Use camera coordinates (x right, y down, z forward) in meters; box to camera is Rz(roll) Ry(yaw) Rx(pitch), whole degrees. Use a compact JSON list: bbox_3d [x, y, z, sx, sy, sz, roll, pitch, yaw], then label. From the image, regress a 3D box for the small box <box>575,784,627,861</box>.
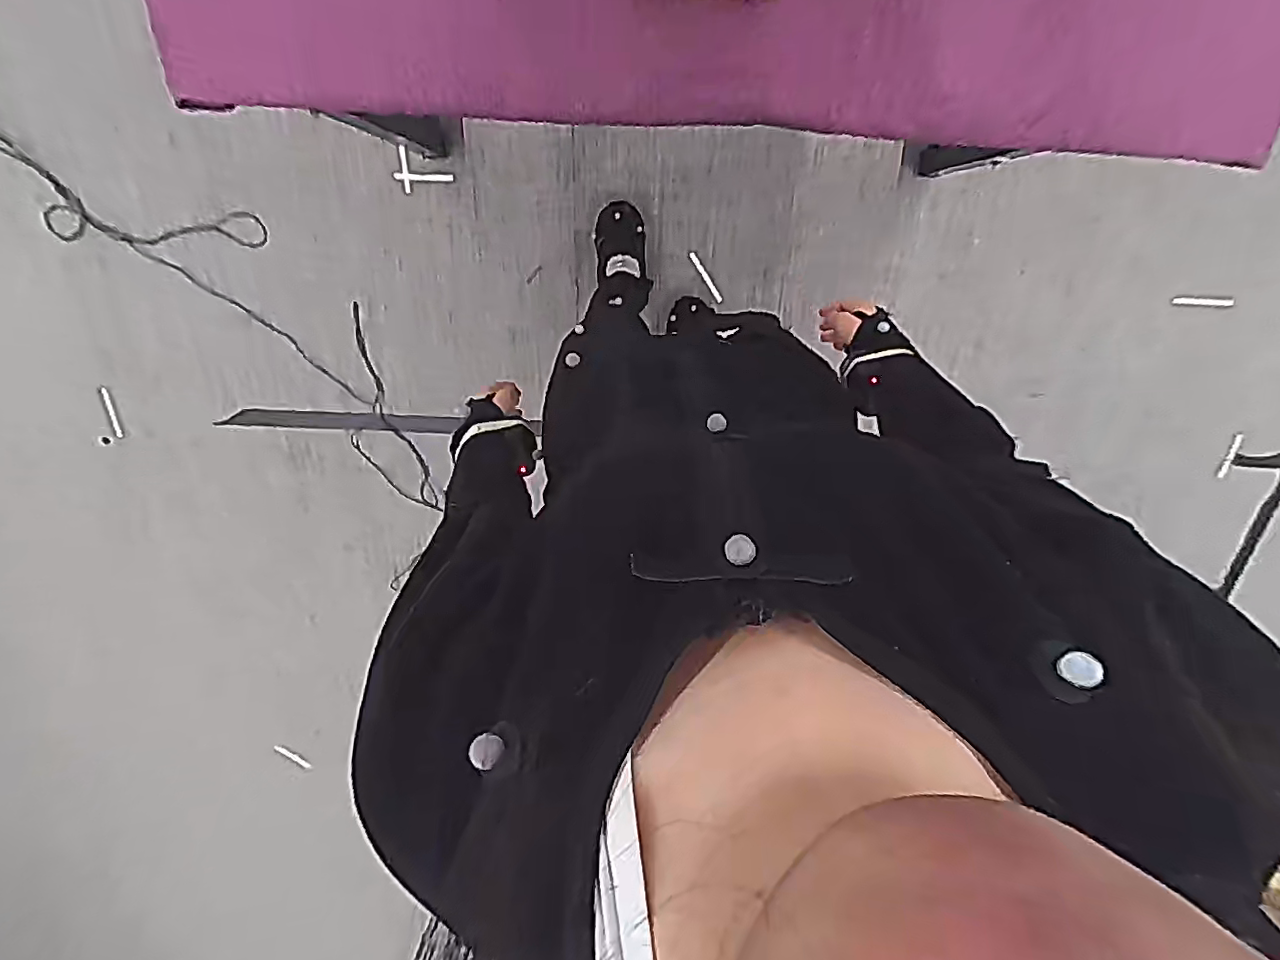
[{"bbox_3d":[-0.136,1.247,1.973,0.168,0.176,0.179,-7,113,1],"label":"small box"}]
